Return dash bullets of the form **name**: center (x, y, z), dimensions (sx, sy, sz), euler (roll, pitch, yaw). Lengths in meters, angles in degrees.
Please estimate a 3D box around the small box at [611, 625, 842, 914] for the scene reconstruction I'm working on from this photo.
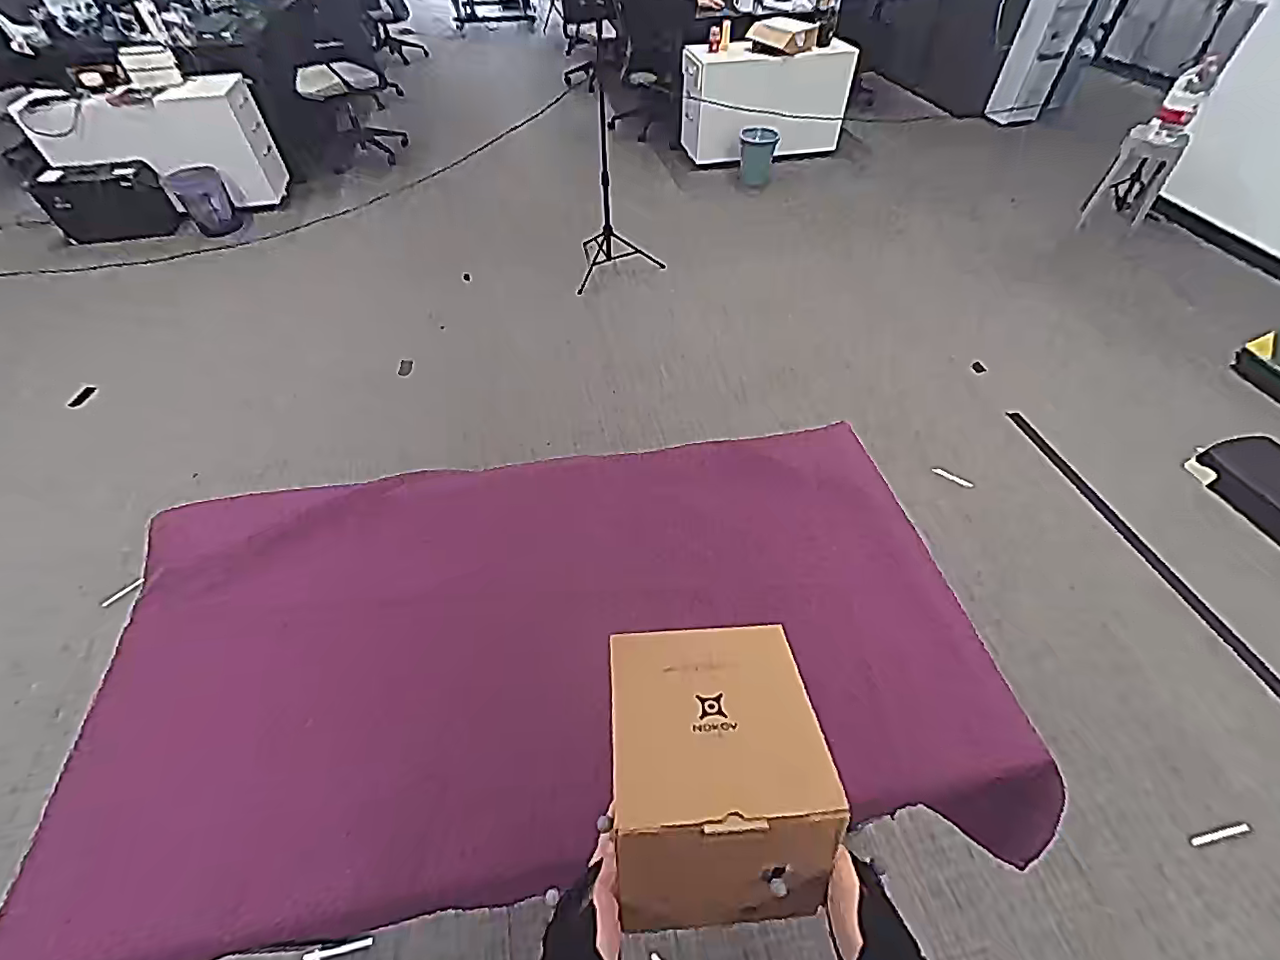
- **small box**: center (0.060, 0.258, 0.486), dimensions (0.168, 0.176, 0.179), euler (-2, 32, -3)
